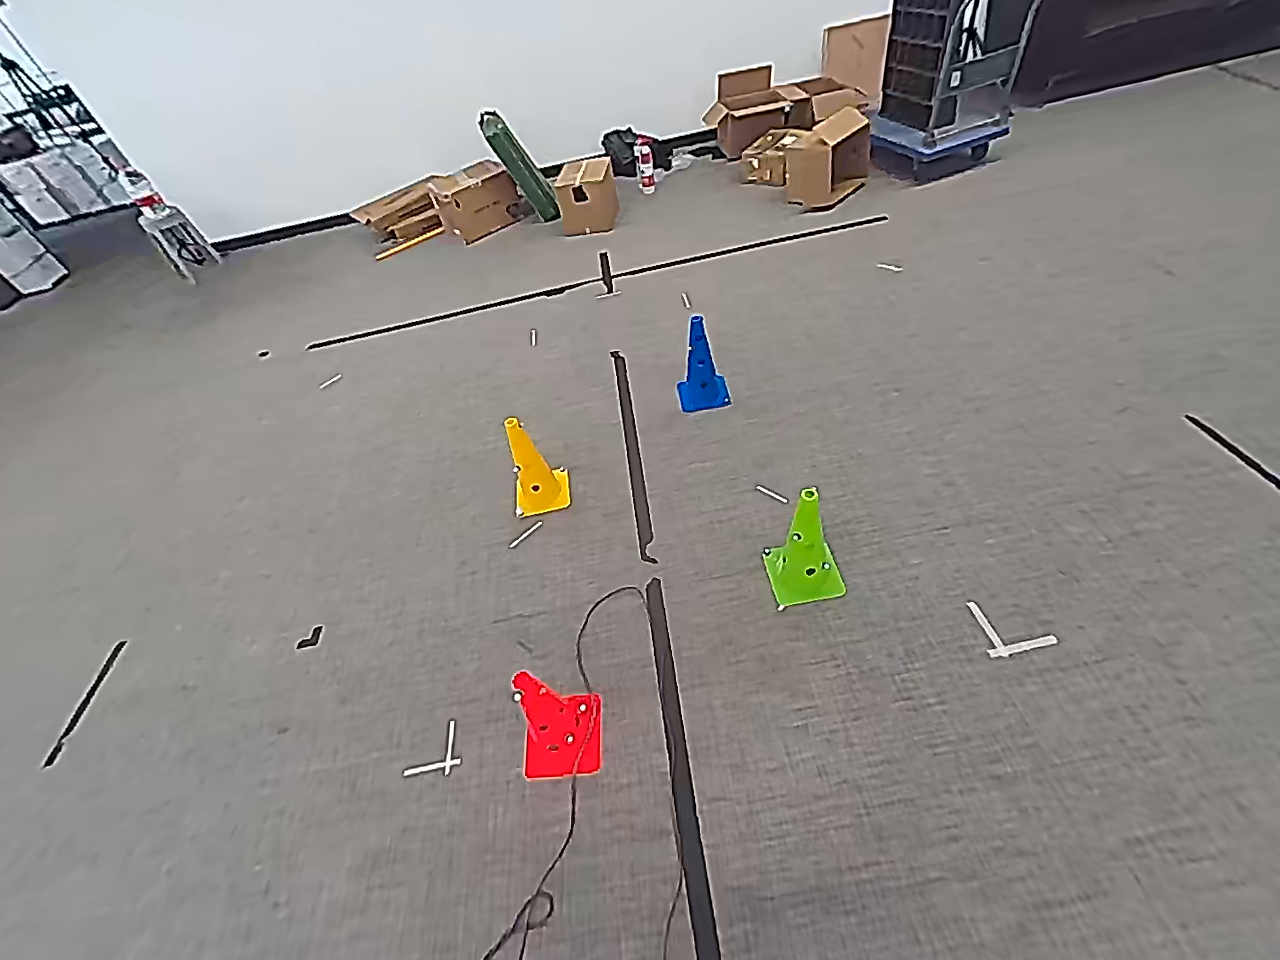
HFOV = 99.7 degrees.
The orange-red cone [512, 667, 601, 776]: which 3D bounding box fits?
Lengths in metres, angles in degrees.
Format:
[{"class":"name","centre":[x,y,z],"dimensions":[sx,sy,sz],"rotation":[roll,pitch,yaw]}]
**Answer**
[{"class":"orange-red cone","centre":[-0.231,0.542,1.285],"dimensions":[0.199,0.360,0.198],"rotation":[-9,45,6]}]

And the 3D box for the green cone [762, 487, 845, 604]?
[{"class":"green cone","centre":[0.458,0.157,1.485],"dimensions":[0.202,0.368,0.200],"rotation":[-10,46,2]}]

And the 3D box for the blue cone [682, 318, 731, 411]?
[{"class":"blue cone","centre":[0.250,-0.465,2.130],"dimensions":[0.192,0.380,0.193],"rotation":[-8,47,4]}]
